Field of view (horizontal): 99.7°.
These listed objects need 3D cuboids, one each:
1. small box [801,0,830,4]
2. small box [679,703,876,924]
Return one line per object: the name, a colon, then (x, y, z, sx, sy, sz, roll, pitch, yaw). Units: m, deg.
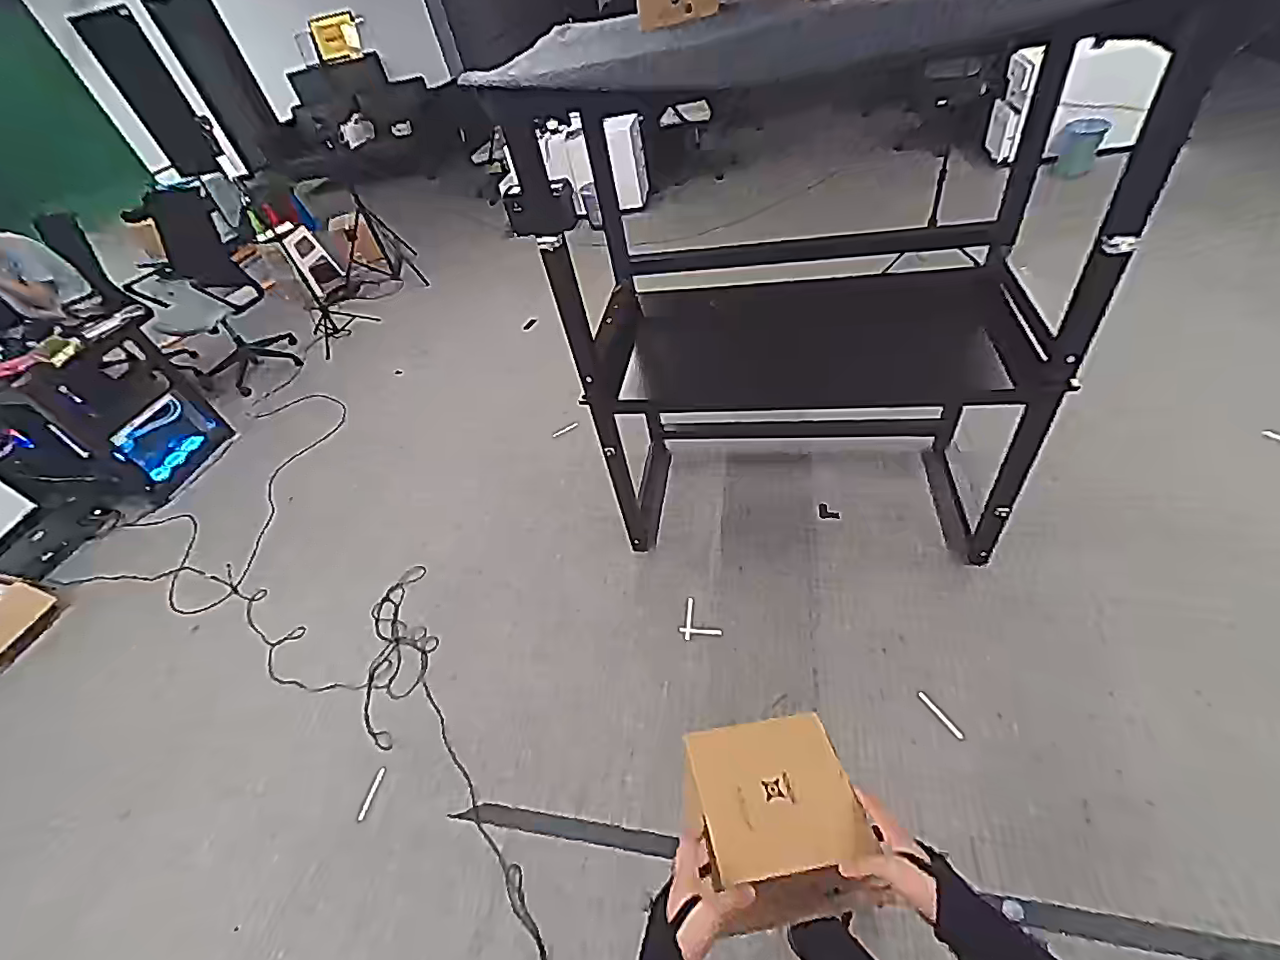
small box: (0.388, -1.026, 1.019, 0.168, 0.176, 0.179, -4, 45, 10)
small box: (0.151, 0.405, 0.663, 0.179, 0.176, 0.168, -6, 35, -8)
